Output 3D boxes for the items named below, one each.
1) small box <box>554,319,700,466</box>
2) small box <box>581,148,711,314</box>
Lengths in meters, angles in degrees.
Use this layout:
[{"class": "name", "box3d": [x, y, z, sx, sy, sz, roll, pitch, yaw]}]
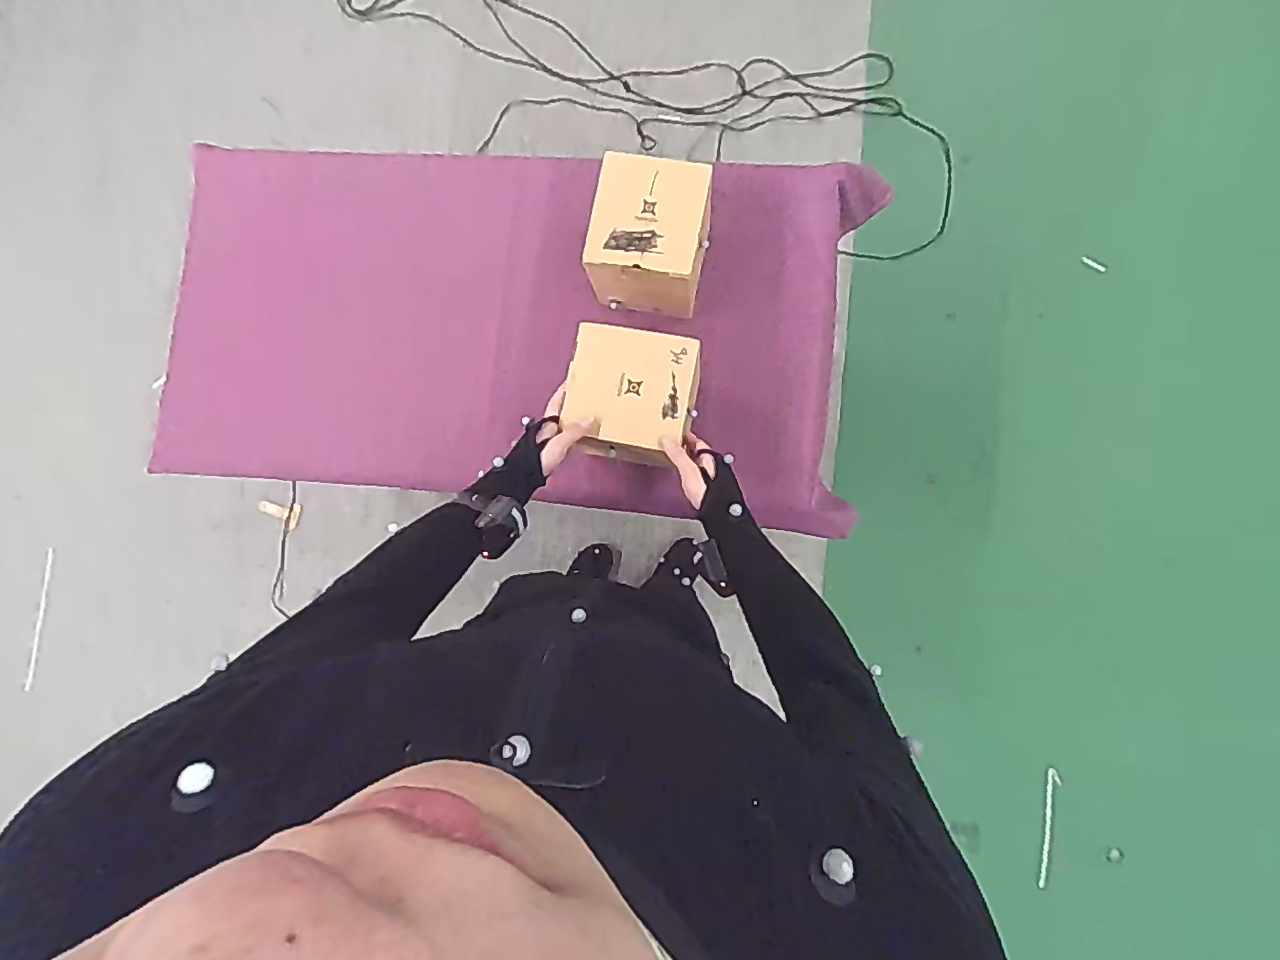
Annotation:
[{"class": "small box", "box3d": [-0.010, -0.123, 0.819, 0.179, 0.176, 0.168, 12, 85, 7]}, {"class": "small box", "box3d": [0.016, -0.386, 0.867, 0.168, 0.176, 0.179, 11, 86, 6]}]
